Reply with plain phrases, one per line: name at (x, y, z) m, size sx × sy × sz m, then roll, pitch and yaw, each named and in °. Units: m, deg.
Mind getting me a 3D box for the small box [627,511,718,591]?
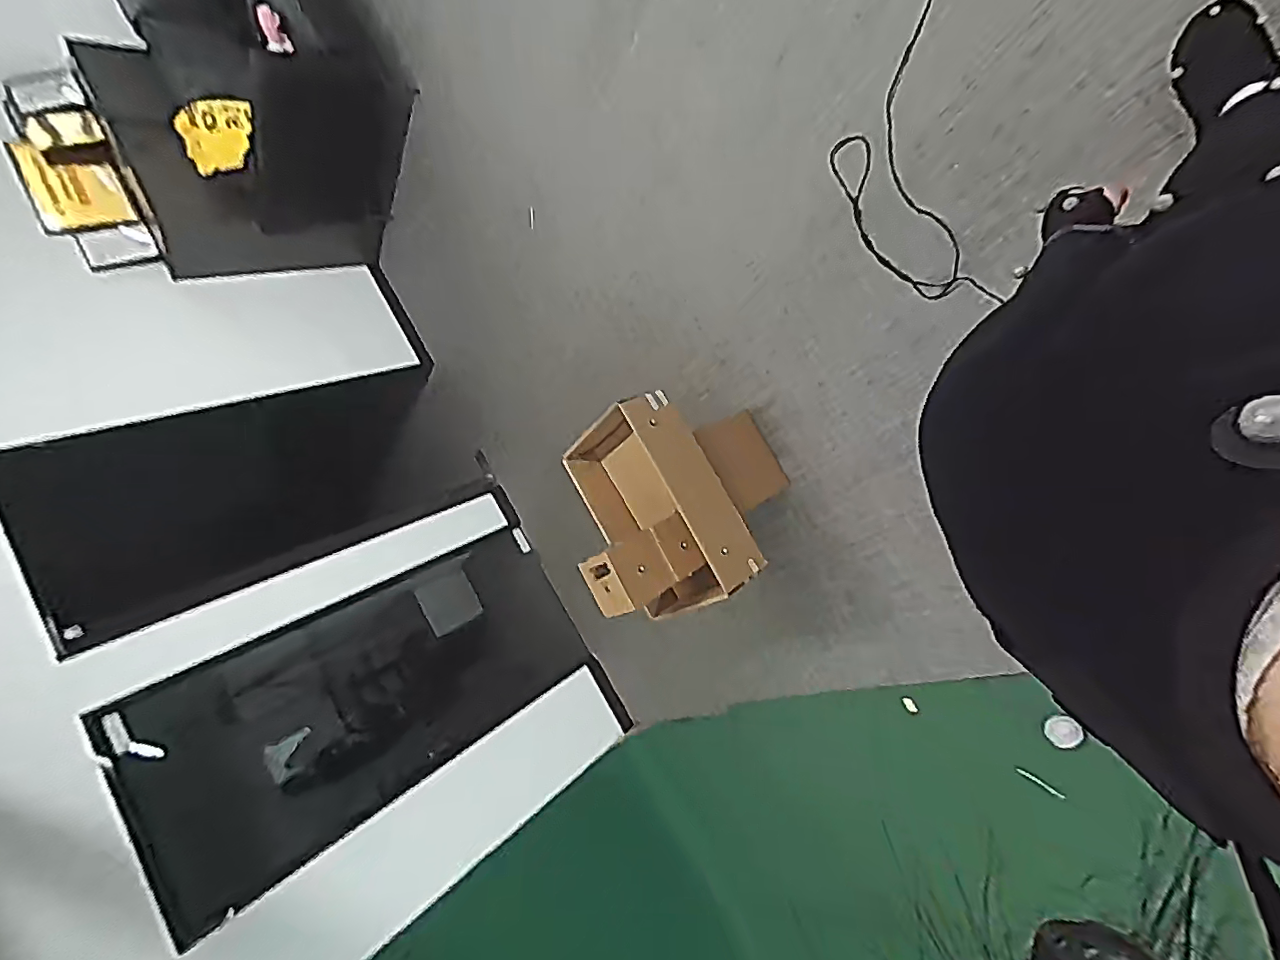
small box at (0.099, 0.207, 1.630) m, size 0.168 × 0.176 × 0.179 m, roll -35°, pitch 82°, yaw 51°
